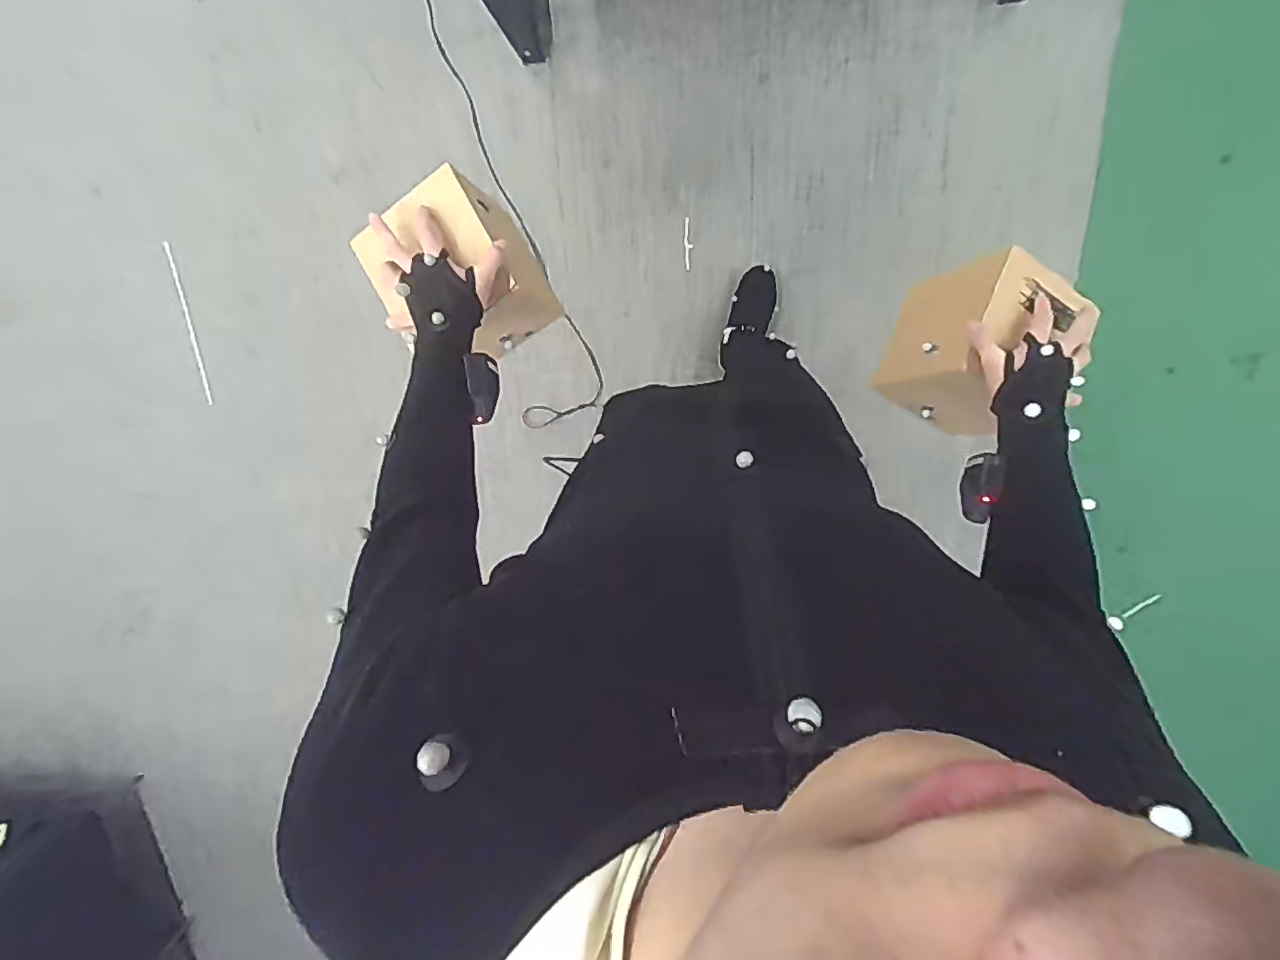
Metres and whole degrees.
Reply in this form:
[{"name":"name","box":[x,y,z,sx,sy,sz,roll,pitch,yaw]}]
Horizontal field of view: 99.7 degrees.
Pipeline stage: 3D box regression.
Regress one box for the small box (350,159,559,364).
[{"name":"small box","box":[-0.239,-0.278,0.737,0.168,0.176,0.179,-30,89,14]}]
